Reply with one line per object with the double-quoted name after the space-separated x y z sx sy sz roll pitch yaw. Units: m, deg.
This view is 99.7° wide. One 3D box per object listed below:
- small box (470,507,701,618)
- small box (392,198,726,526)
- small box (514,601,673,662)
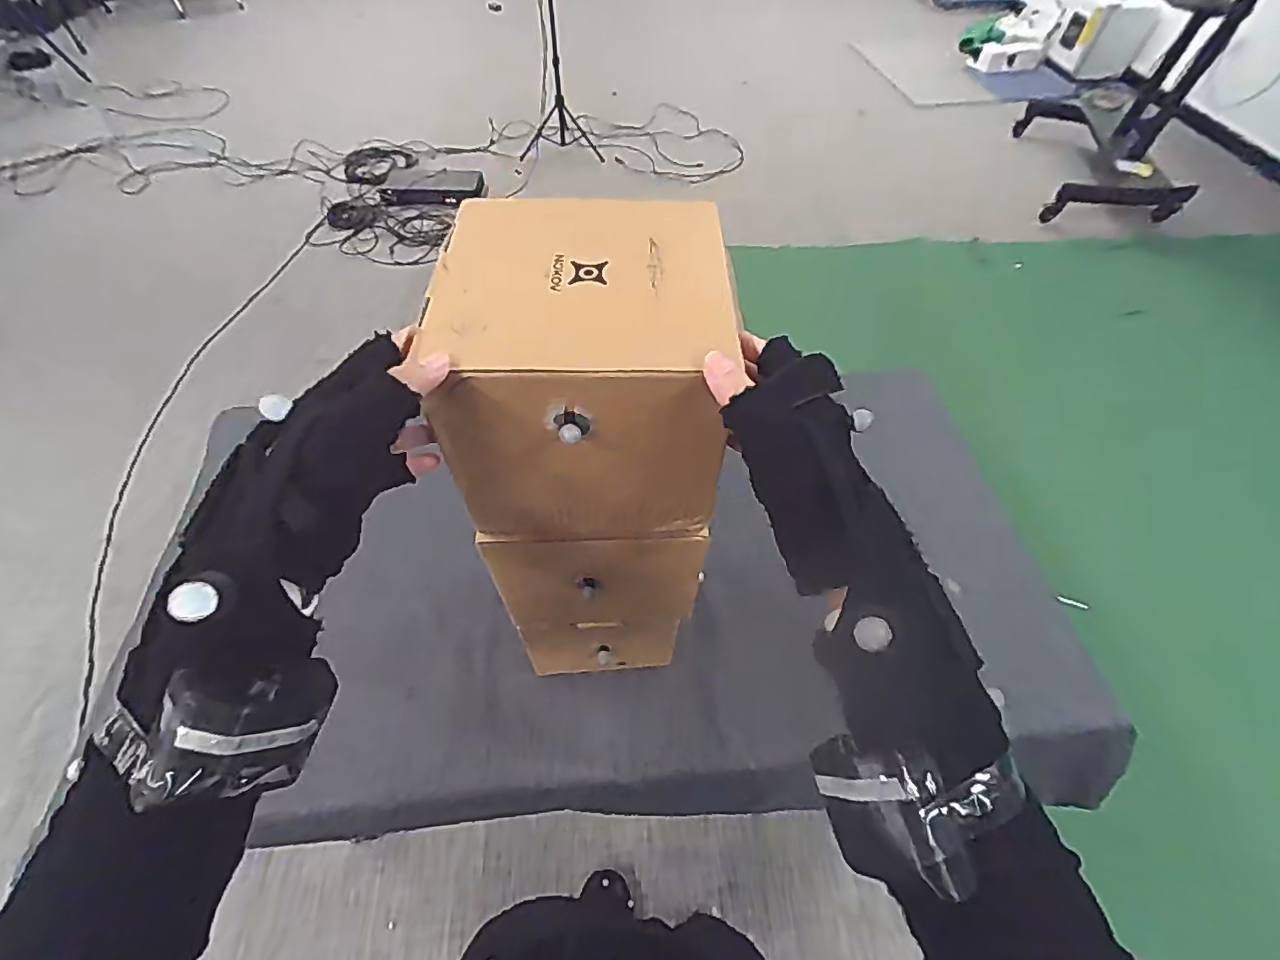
-0.045 0.023 0.515 0.179 0.176 0.168 -3 55 -2 "small box"
-0.043 -0.076 0.387 0.179 0.176 0.168 -1 56 -2 "small box"
-0.052 0.112 0.654 0.168 0.176 0.179 -5 55 -4 "small box"
